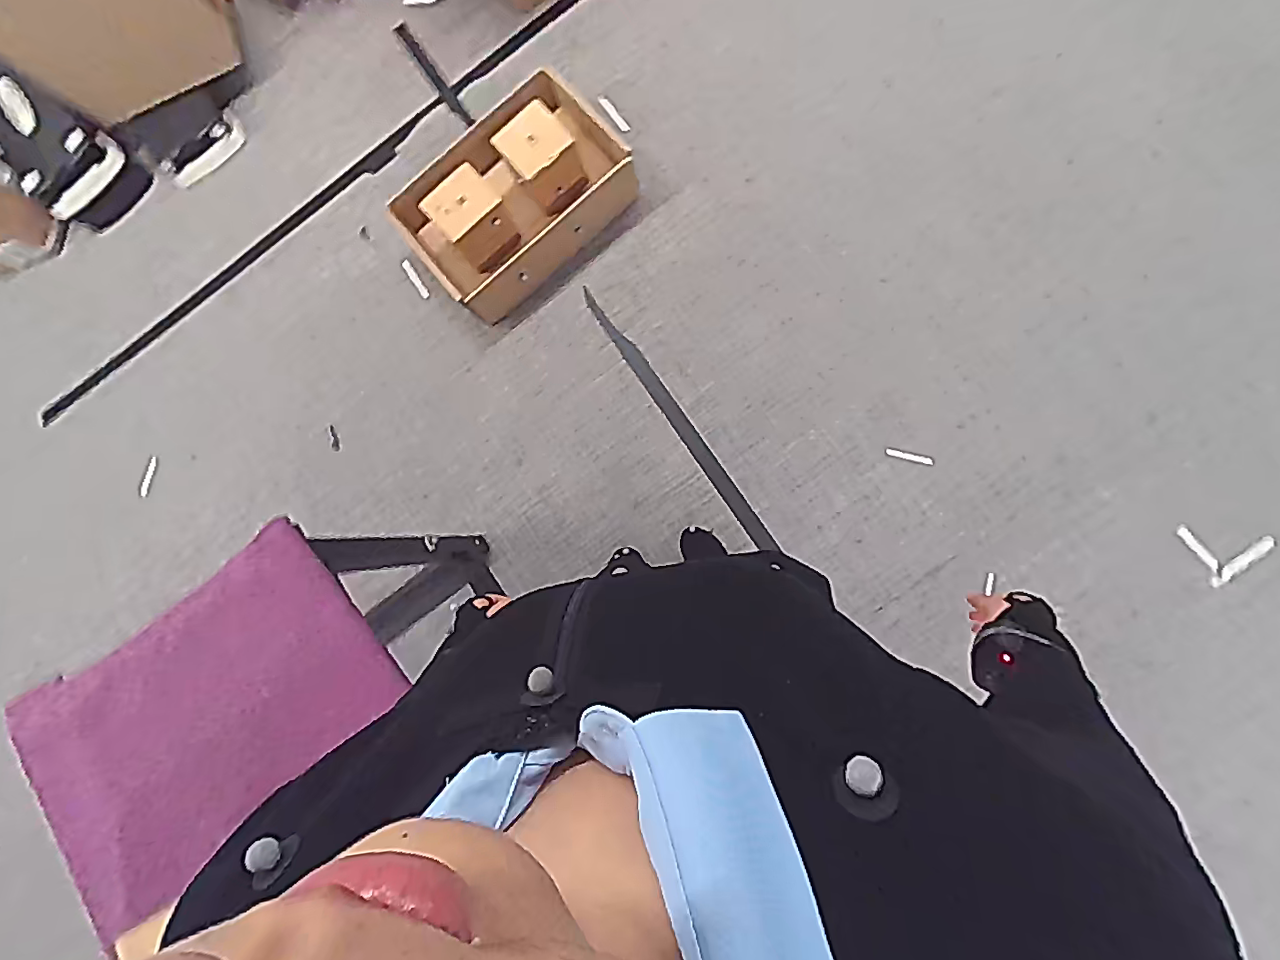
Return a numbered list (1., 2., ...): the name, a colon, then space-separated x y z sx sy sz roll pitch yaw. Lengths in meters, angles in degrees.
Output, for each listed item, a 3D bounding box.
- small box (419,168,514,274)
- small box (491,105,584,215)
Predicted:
1. small box: -0.484 -0.733 1.547 0.179 0.176 0.168 -42 79 0
2. small box: -0.286 -0.902 1.541 0.168 0.176 0.179 -41 80 2
